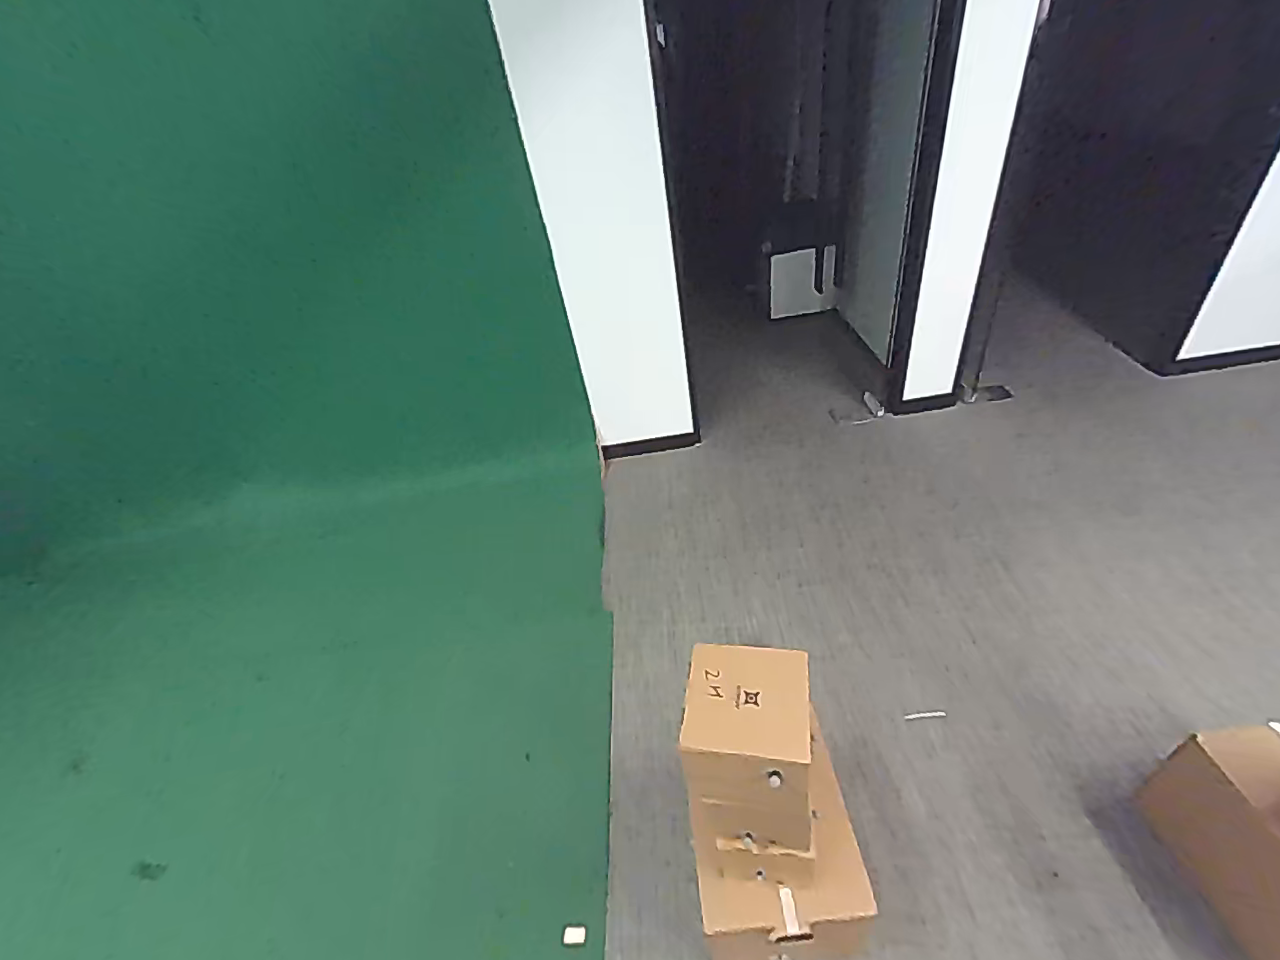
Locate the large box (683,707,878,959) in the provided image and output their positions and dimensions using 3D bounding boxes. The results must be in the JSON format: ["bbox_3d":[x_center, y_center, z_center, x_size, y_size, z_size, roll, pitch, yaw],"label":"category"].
[{"bbox_3d":[0.292,0.769,1.210,0.320,0.320,0.408,-10,37,4],"label":"large box"}]

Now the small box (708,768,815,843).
[{"bbox_3d":[0.210,0.487,0.928,0.168,0.176,0.179,-1,41,16],"label":"small box"}]

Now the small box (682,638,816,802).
[{"bbox_3d":[0.172,0.365,0.824,0.179,0.176,0.168,-1,40,16],"label":"small box"}]

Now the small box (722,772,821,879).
[{"bbox_3d":[0.245,0.616,1.021,0.168,0.176,0.179,-3,40,13],"label":"small box"}]
